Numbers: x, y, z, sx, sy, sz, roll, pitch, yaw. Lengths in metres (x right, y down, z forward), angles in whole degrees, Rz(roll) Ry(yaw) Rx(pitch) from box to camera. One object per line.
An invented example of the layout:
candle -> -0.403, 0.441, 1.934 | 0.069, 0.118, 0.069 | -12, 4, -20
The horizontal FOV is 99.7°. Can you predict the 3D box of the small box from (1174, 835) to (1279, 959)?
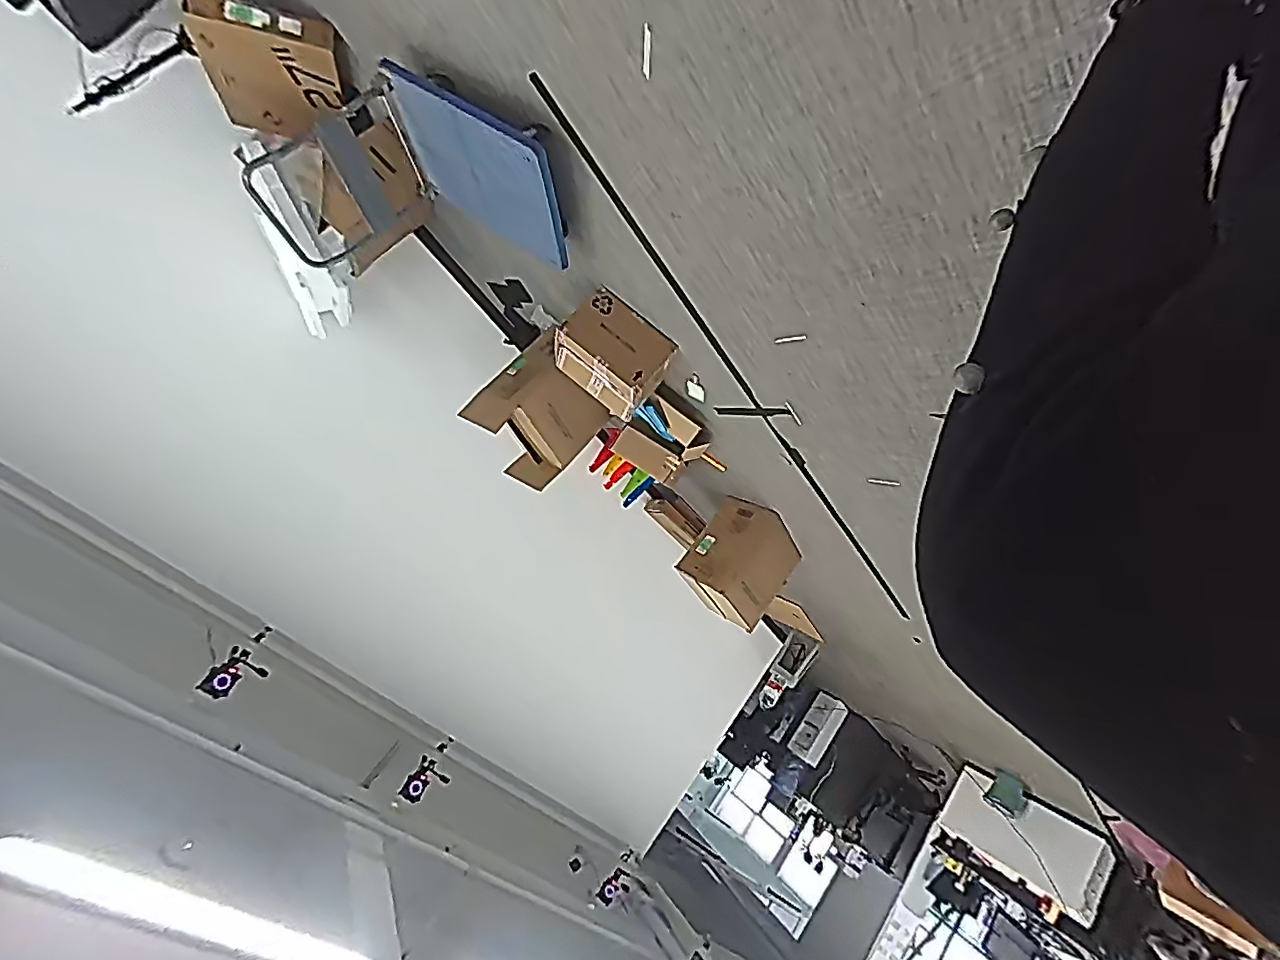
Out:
small box -> 1.432, 1.006, 1.302 | 0.179, 0.176, 0.168 | 48, 162, -30
